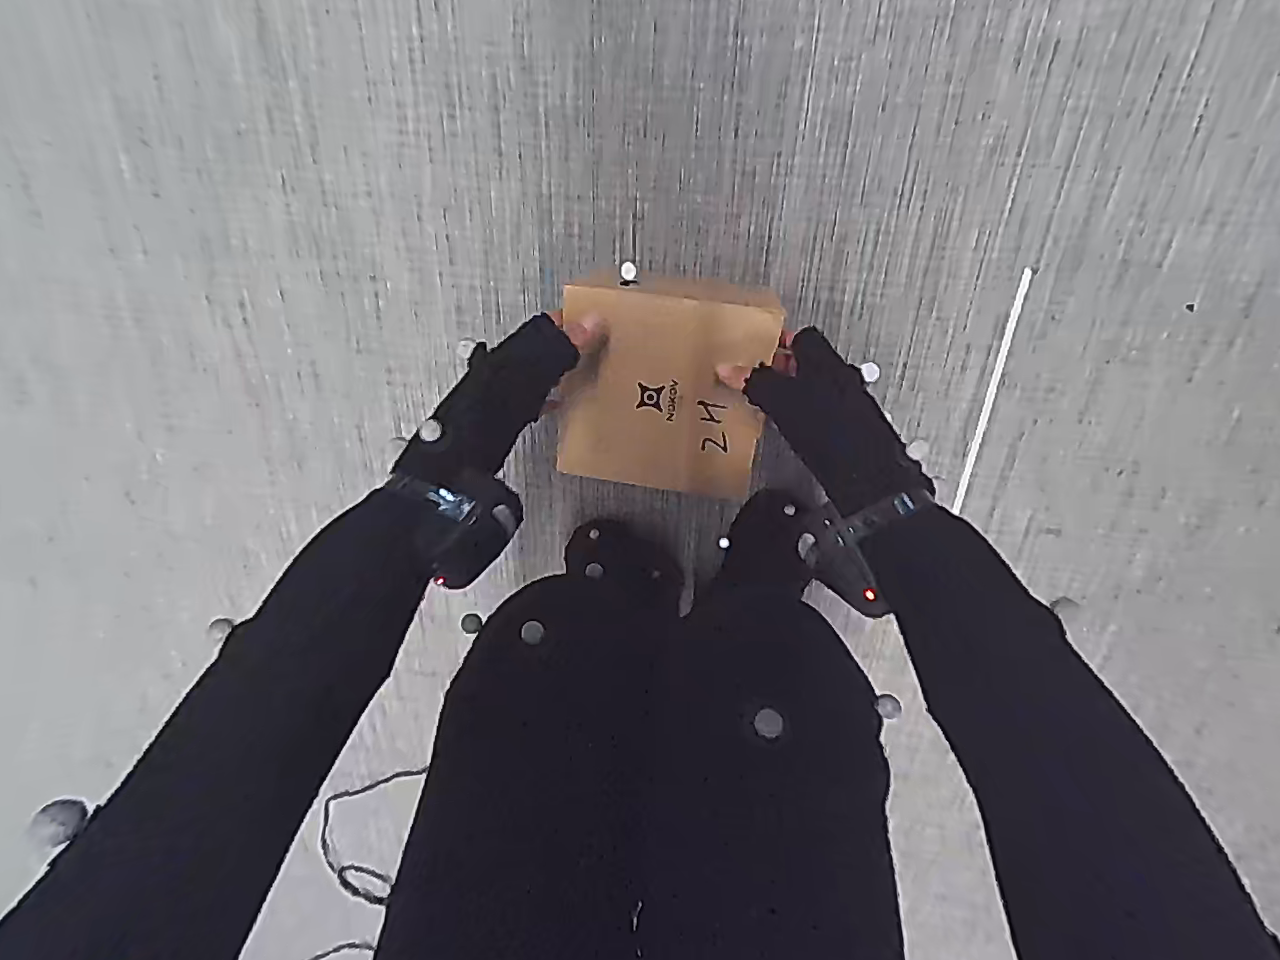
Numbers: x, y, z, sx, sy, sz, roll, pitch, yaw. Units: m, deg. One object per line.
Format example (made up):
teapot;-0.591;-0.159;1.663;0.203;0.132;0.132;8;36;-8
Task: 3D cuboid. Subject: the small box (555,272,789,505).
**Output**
small box;0.030;-0.098;0.517;0.179;0.176;0.168;10;117;5
